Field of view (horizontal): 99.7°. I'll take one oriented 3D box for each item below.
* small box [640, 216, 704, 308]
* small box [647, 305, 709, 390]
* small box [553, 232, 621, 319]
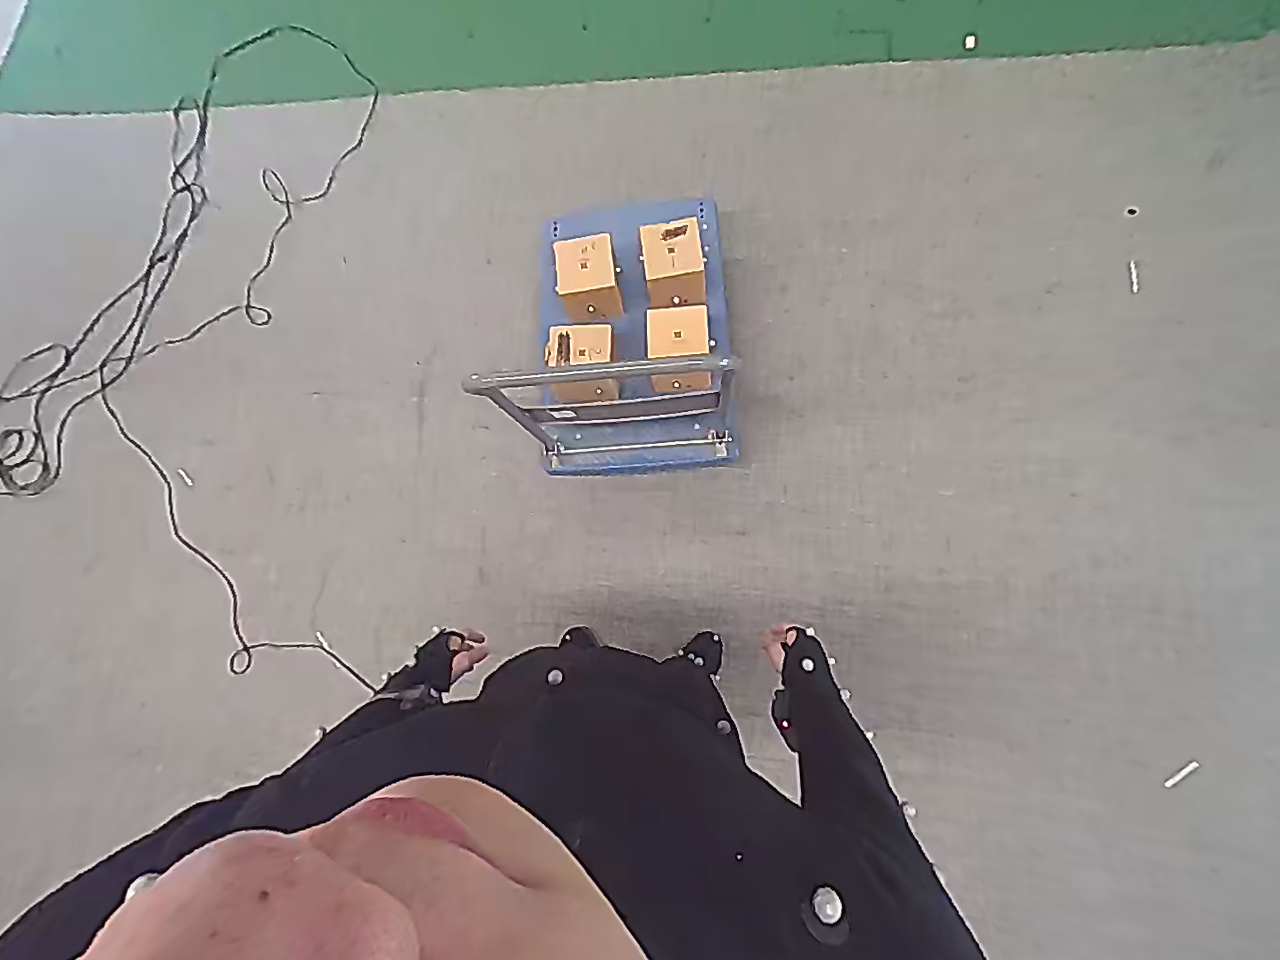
[{"bbox_3d":[0.095,-0.633,1.585,0.168,0.176,0.179,-8,78,7],"label":"small box"},{"bbox_3d":[0.108,-0.369,1.527,0.168,0.176,0.179,-3,78,7],"label":"small box"},{"bbox_3d":[-0.153,-0.598,1.610,0.168,0.176,0.179,-7,77,5],"label":"small box"}]
